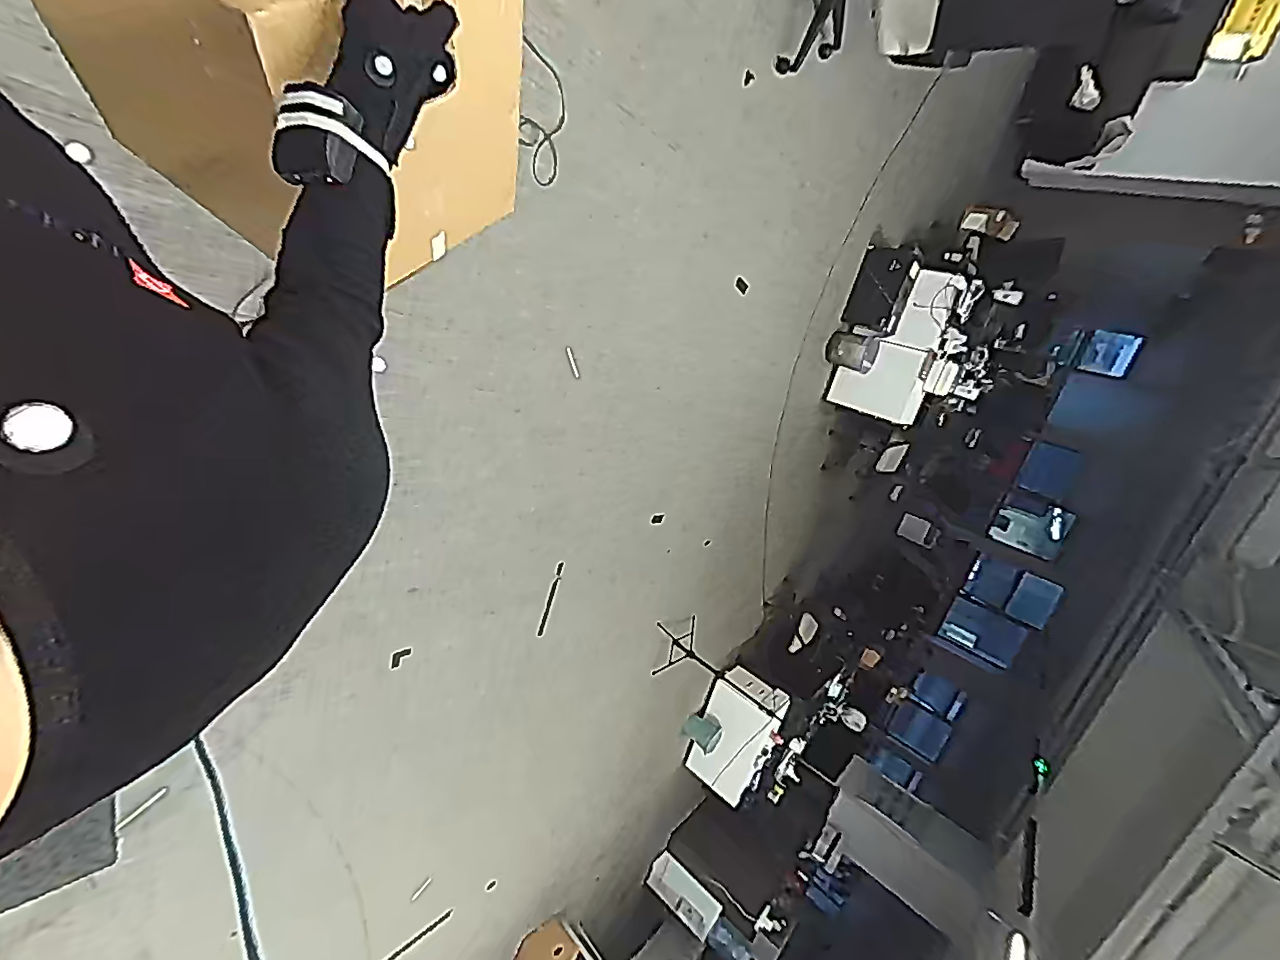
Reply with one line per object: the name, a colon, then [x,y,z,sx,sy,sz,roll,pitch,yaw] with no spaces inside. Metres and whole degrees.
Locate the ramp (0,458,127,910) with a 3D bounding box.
ramp: [-1.360,0.452,1.061,0.509,0.206,0.991,-7,118,-50]

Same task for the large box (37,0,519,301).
large box: [-0.402,-0.498,0.629,0.320,0.408,0.320,-50,175,-29]
